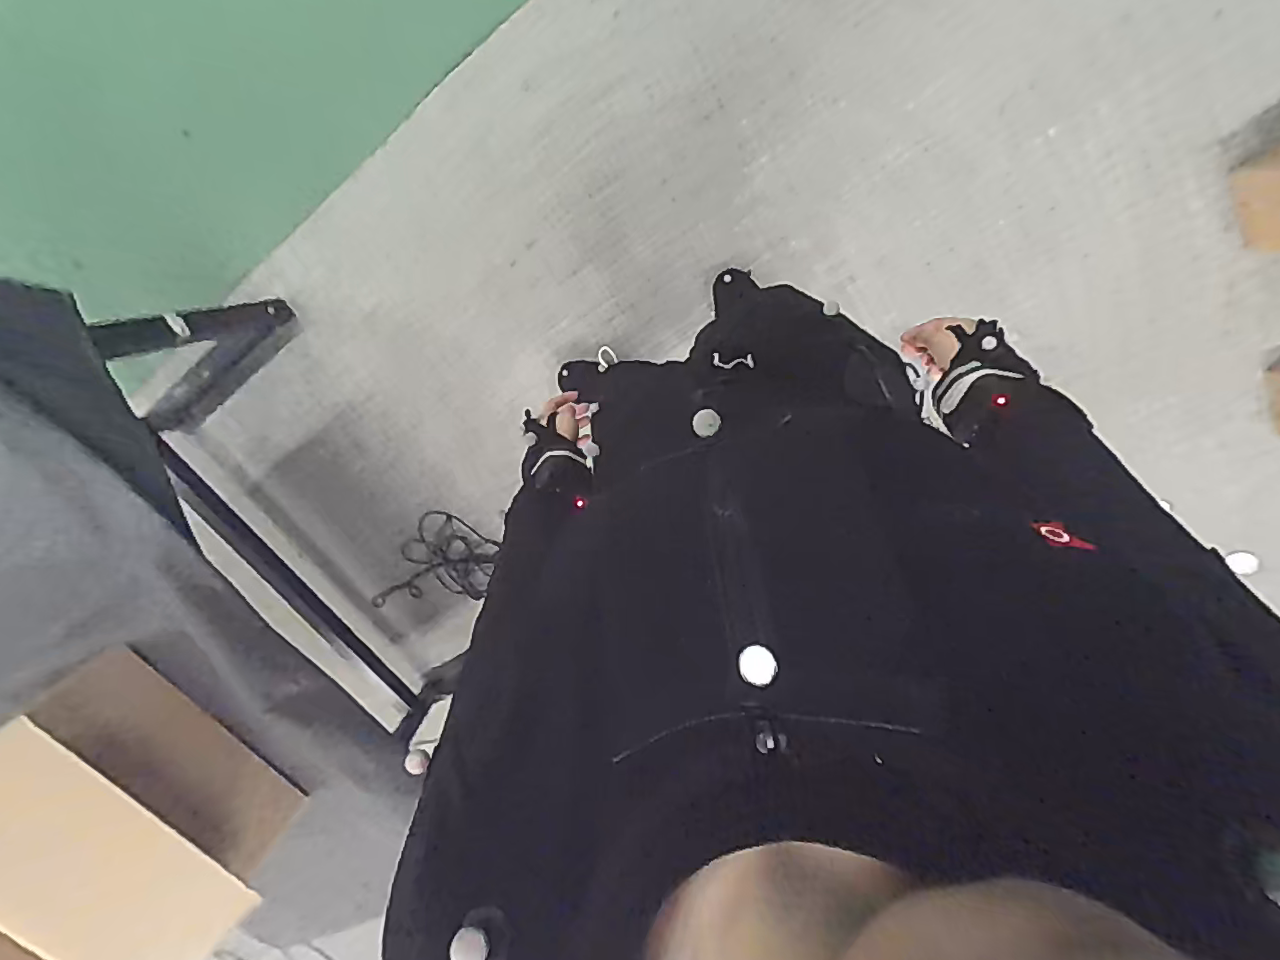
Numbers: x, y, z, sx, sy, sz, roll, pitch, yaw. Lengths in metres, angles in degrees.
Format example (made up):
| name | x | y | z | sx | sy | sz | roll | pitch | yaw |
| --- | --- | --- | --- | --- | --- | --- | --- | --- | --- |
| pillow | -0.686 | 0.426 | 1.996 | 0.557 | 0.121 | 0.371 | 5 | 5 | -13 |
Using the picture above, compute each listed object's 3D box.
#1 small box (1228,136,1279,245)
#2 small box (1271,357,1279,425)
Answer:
| name | x | y | z | sx | sy | sz | roll | pitch | yaw |
| --- | --- | --- | --- | --- | --- | --- | --- | --- | --- |
| small box | 1.219 | -0.536 | 0.956 | 0.168 | 0.176 | 0.179 | -30 | 107 | 18 |
| small box | 1.439 | -0.188 | 1.085 | 0.179 | 0.176 | 0.168 | -26 | 110 | 16 |
